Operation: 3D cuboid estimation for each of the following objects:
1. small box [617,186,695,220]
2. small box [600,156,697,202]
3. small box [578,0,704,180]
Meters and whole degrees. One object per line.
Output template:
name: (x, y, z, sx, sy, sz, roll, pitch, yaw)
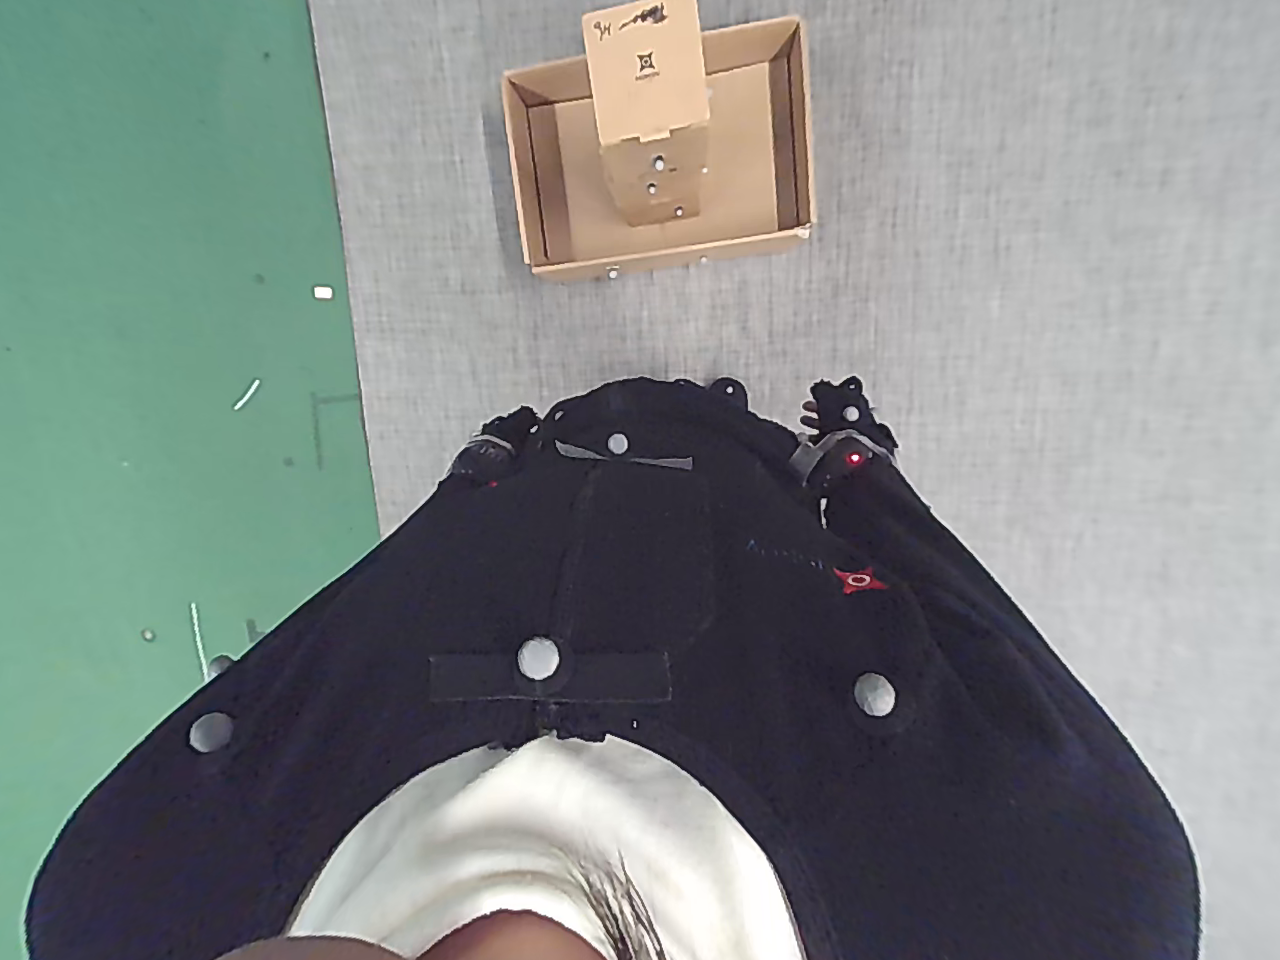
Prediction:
small box: (0.031, -0.681, 1.174, 0.168, 0.176, 0.179, -6, 99, 7)
small box: (0.017, -0.648, 1.030, 0.179, 0.176, 0.168, -4, 100, 7)
small box: (0.012, -0.611, 0.874, 0.168, 0.176, 0.179, -9, 99, 8)
